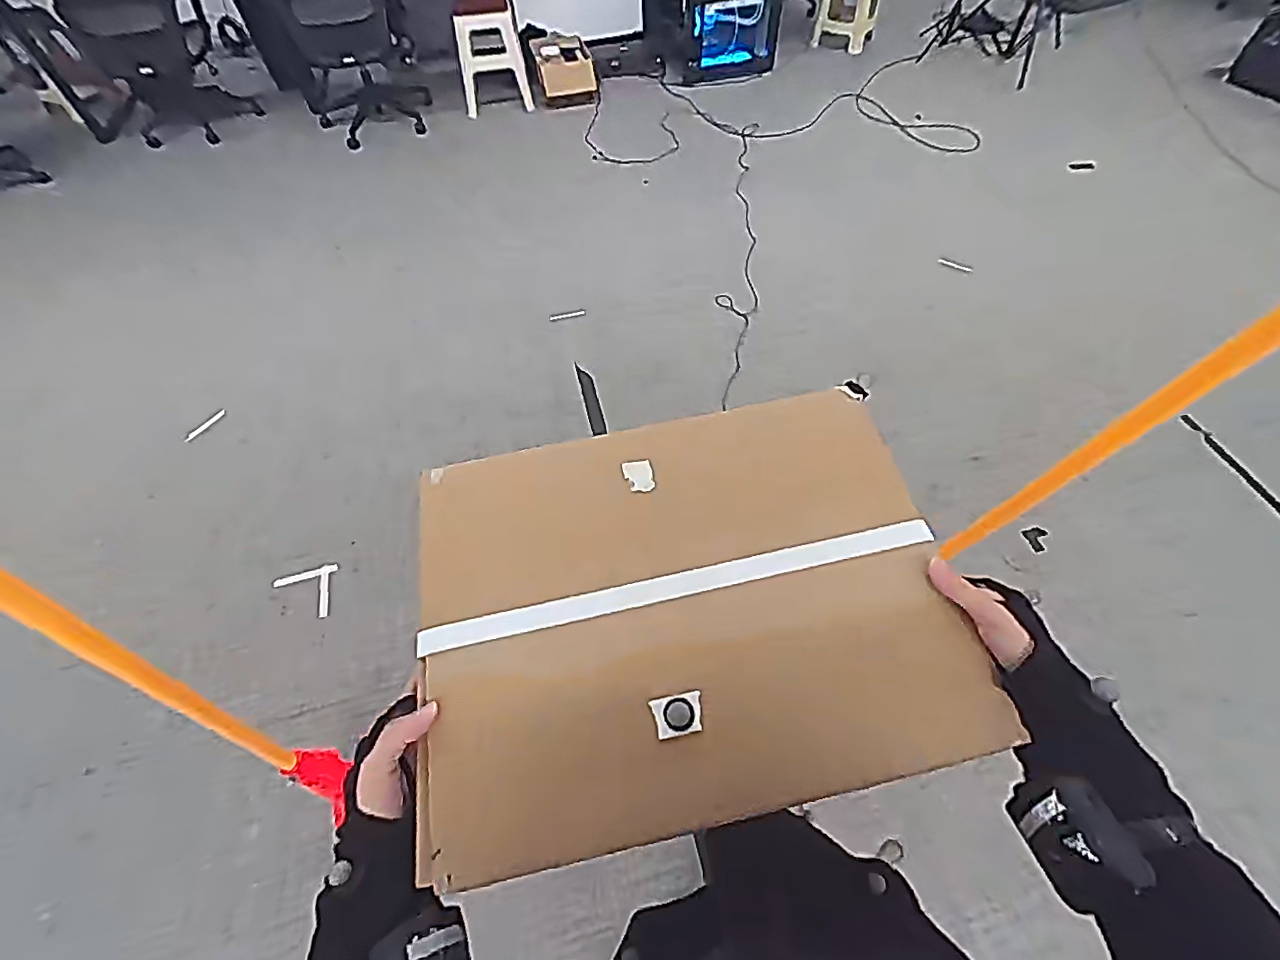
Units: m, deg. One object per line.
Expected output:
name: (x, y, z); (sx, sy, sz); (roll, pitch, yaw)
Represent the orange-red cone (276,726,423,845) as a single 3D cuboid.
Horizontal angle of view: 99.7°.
orange-red cone: (-0.610, 0.594, 1.086); (0.199, 0.360, 0.198); (-21, 57, -10)
